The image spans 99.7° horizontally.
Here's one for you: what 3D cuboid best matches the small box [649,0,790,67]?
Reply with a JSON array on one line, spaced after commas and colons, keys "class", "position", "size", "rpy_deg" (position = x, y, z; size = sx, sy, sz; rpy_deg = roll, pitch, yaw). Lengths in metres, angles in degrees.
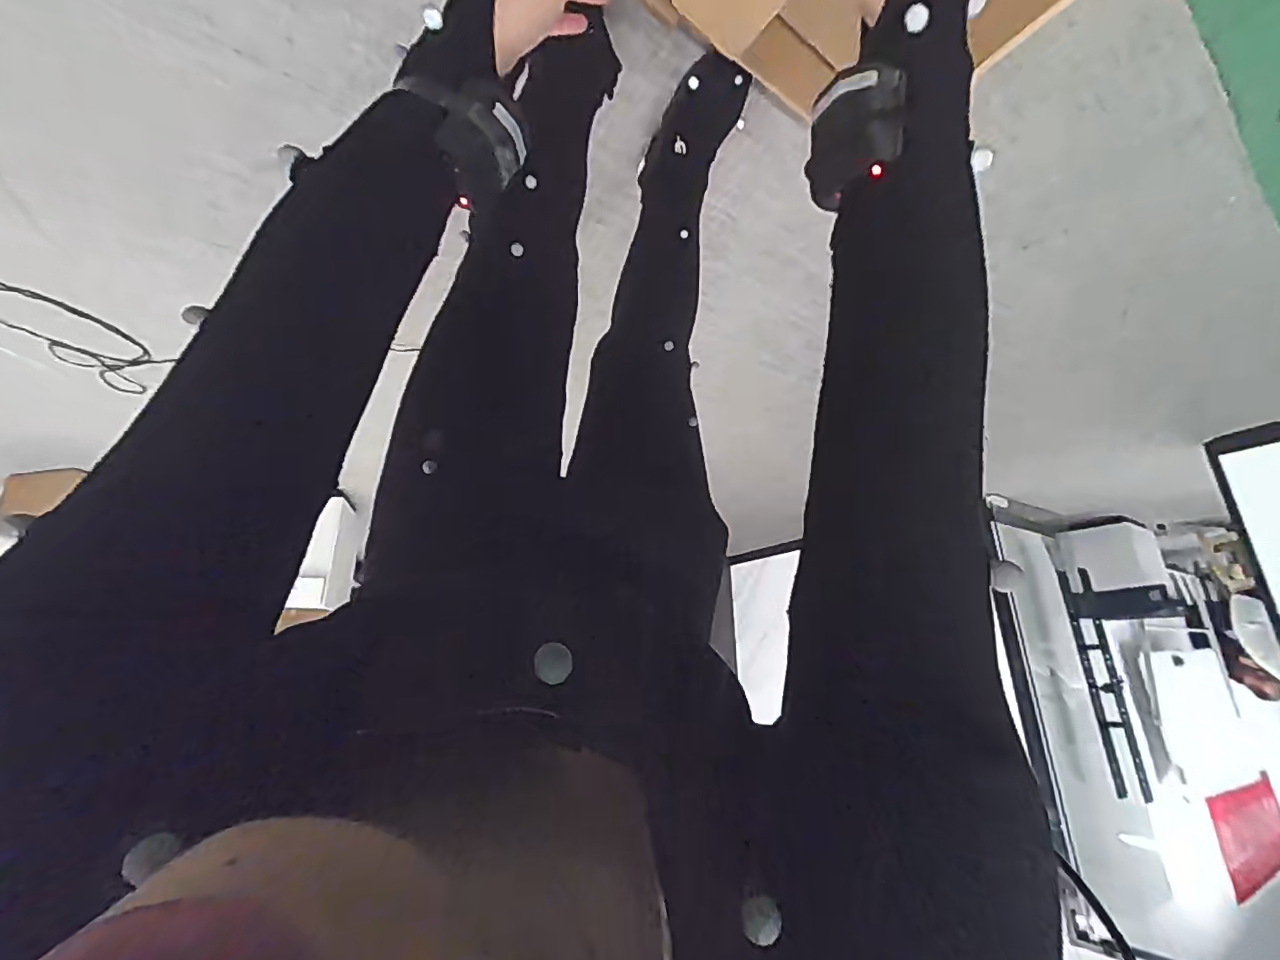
[{"class": "small box", "position": [0.068, -0.484, 0.402], "size": [0.168, 0.176, 0.179], "rpy_deg": [14, 159, -34]}]
